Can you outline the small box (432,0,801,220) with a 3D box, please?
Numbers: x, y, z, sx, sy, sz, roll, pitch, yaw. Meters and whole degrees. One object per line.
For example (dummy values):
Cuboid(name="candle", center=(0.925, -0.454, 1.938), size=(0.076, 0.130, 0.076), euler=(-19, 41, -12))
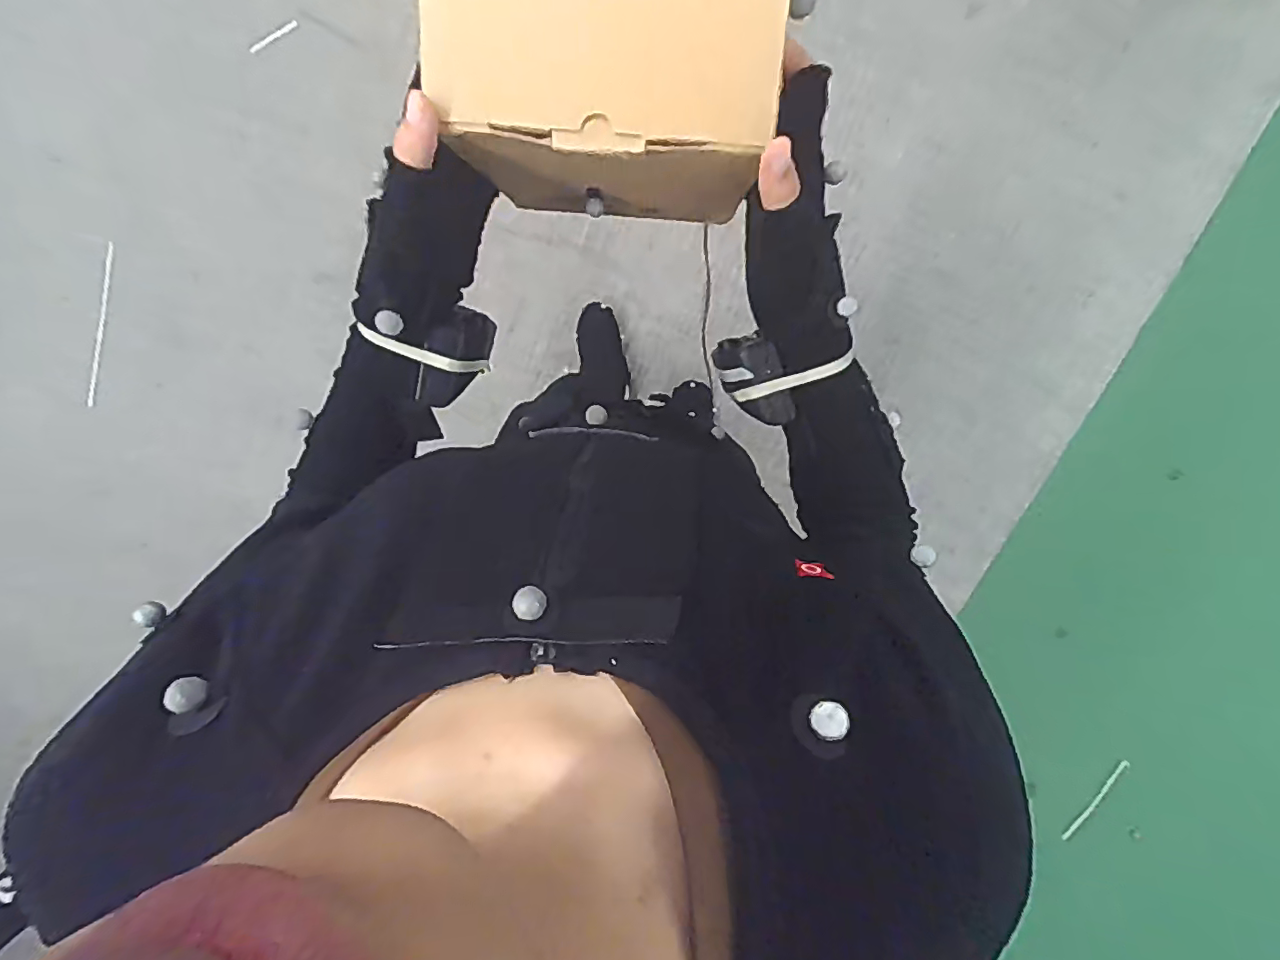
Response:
Cuboid(name="small box", center=(-0.006, -0.265, 0.307), size=(0.168, 0.176, 0.179), euler=(4, 106, 1))
